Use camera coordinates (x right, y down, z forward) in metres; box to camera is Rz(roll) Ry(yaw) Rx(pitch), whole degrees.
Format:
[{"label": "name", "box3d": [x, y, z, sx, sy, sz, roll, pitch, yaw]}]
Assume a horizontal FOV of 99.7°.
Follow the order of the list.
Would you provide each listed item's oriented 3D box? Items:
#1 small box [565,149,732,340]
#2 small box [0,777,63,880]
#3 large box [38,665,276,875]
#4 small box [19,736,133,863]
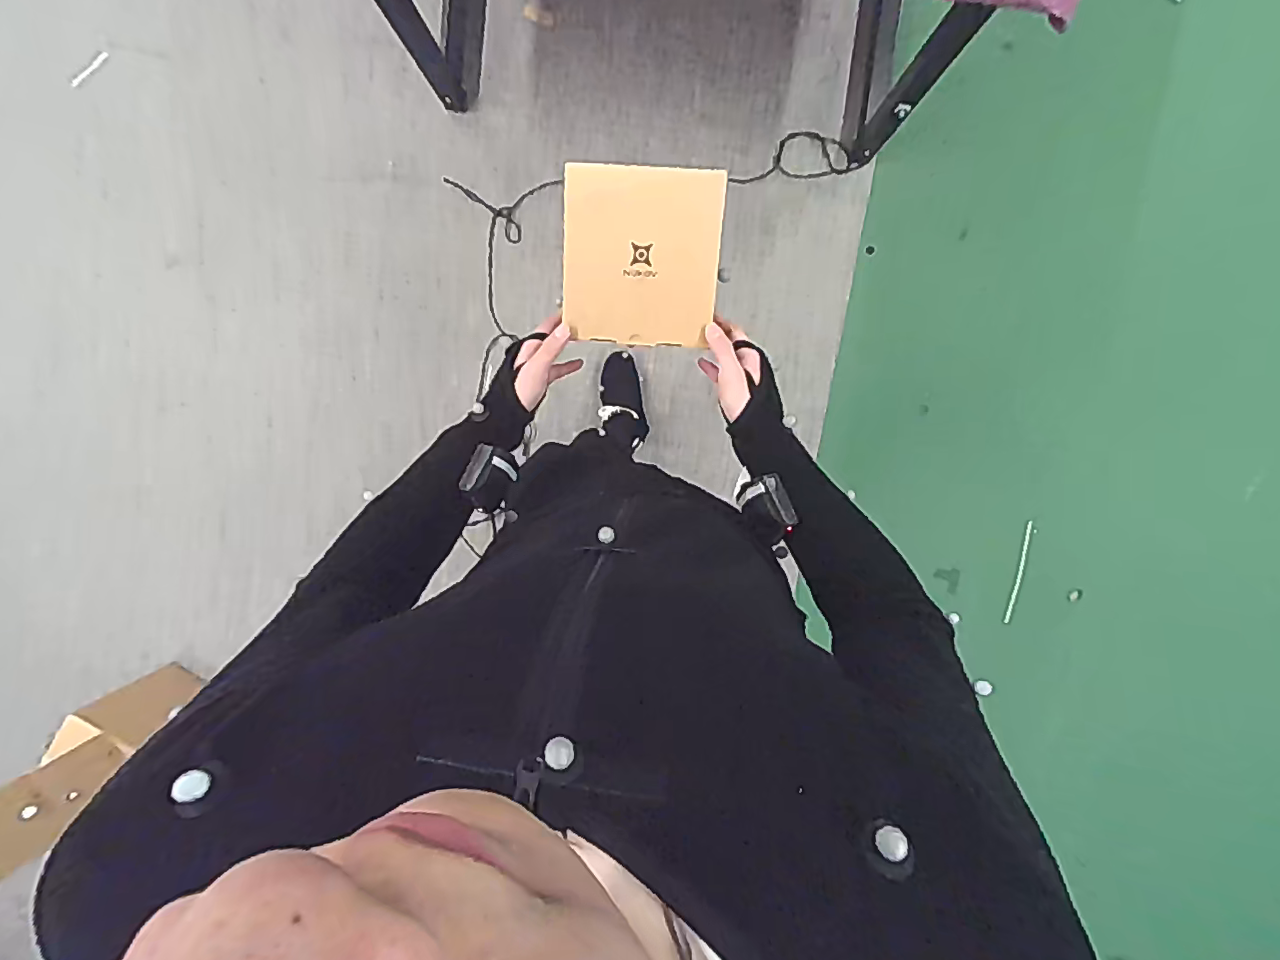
[{"label": "small box", "box3d": [0.008, -0.266, 0.636, 0.168, 0.176, 0.179, 4, 110, 1]}, {"label": "small box", "box3d": [-1.421, 0.789, 1.153, 0.179, 0.176, 0.168, -39, 95, 3]}, {"label": "large box", "box3d": [-1.397, 0.815, 1.569, 0.408, 0.320, 0.320, 32, 96, -4]}, {"label": "small box", "box3d": [-1.418, 0.774, 1.318, 0.179, 0.176, 0.168, -38, 95, 4]}]
